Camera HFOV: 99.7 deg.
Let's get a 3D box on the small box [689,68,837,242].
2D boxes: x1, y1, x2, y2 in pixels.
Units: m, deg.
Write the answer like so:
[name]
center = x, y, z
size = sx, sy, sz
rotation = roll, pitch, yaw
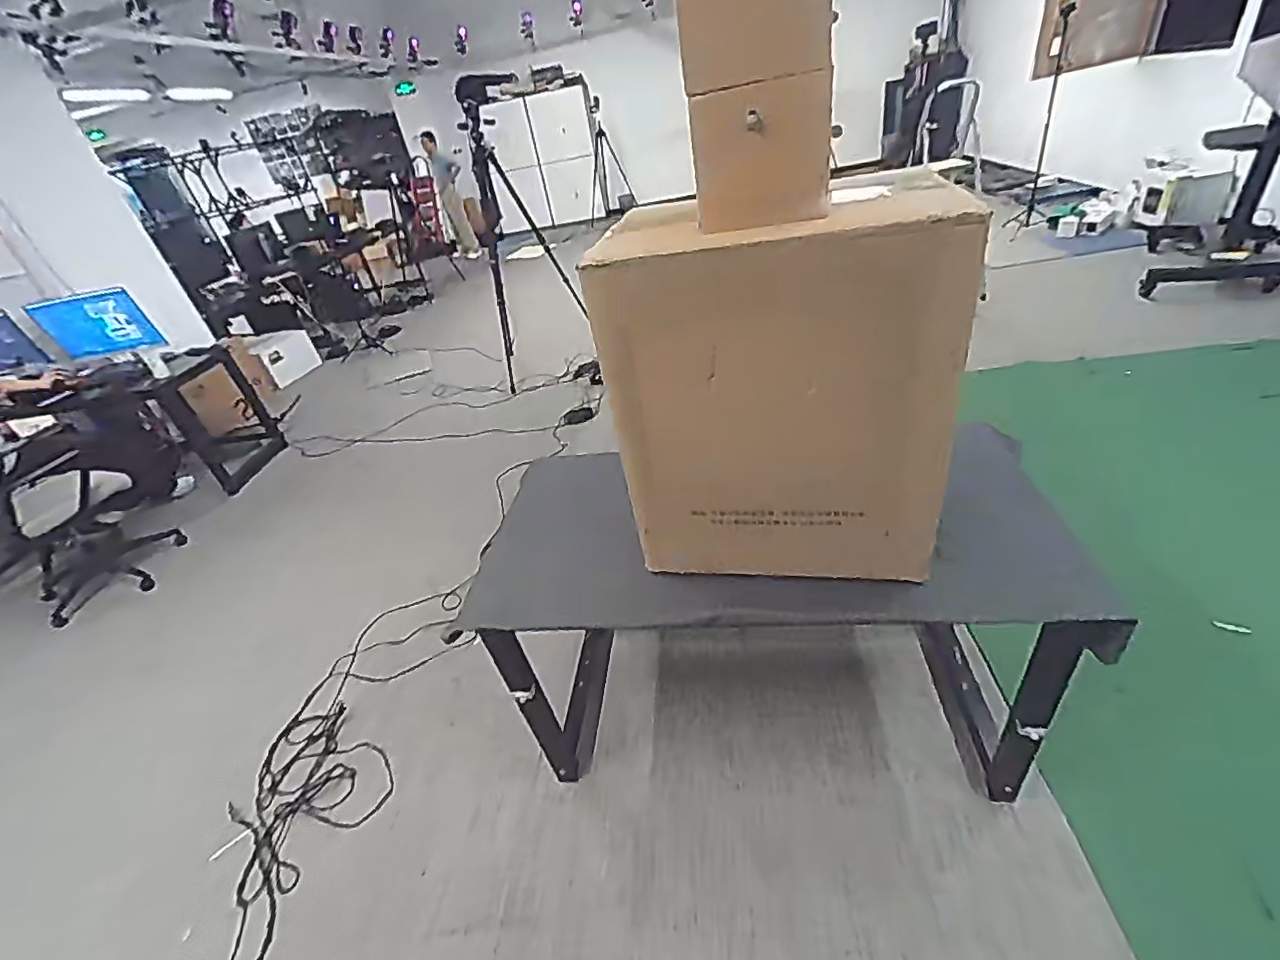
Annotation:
[small box]
center = 0.176, -0.450, 0.756
size = 0.179, 0.176, 0.168
rotation = -1, 39, 17
